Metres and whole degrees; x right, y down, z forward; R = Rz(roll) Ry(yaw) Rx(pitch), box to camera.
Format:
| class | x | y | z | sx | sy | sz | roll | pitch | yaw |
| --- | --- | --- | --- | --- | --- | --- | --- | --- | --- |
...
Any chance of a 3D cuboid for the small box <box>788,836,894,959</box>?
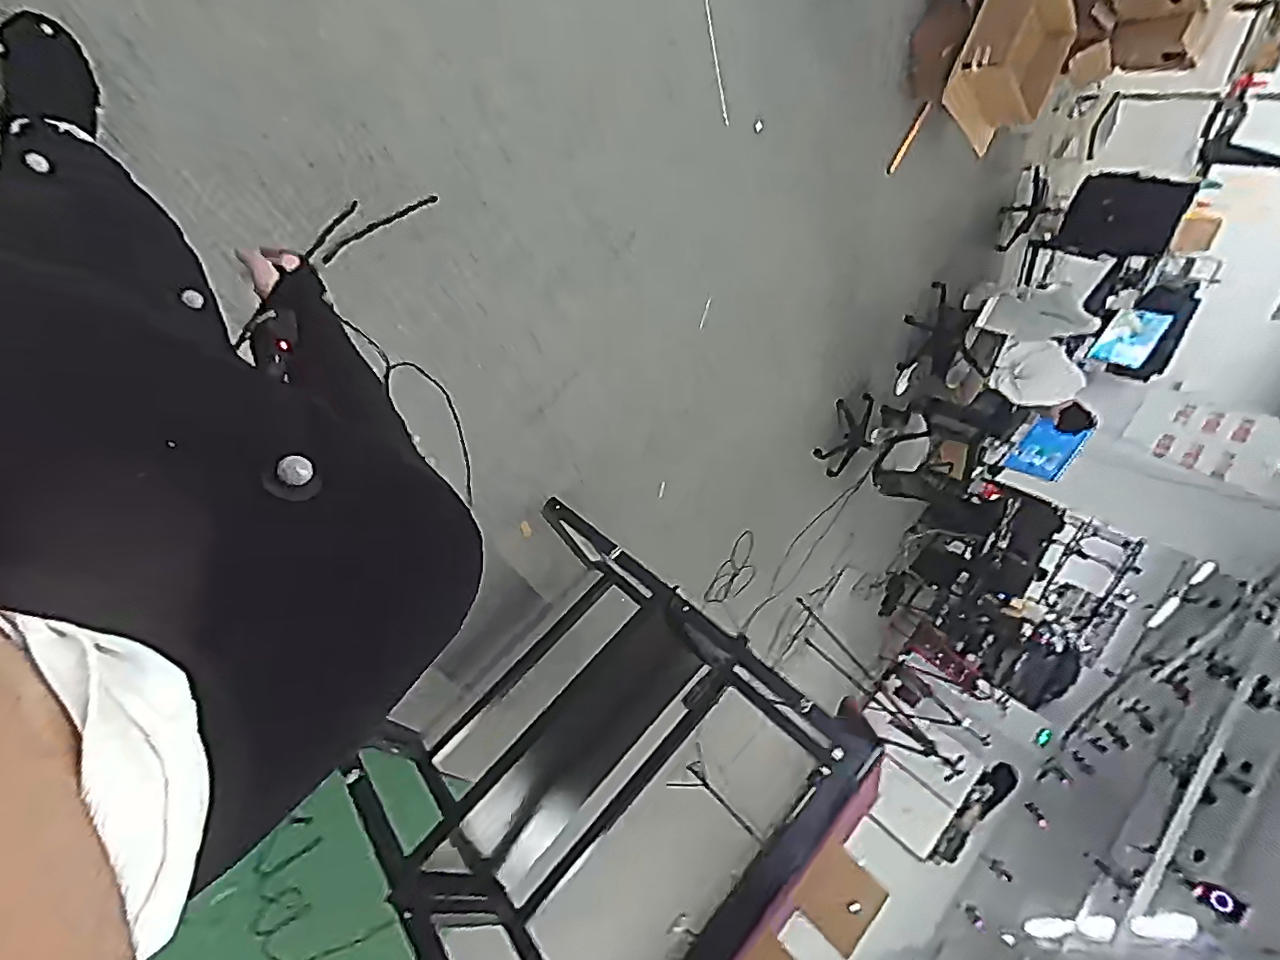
| class | x | y | z | sx | sy | sz | roll | pitch | yaw |
| --- | --- | --- | --- | --- | --- | --- | --- | --- | --- |
| small box | 0.473 | 0.996 | 1.291 | 0.179 | 0.176 | 0.168 | -41 | 139 | -19 |

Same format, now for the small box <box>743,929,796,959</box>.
| class | x | y | z | sx | sy | sz | roll | pitch | yaw |
| --- | --- | --- | --- | --- | --- | --- | --- | --- | --- |
| small box | 0.297 | 1.170 | 1.220 | 0.179 | 0.176 | 0.168 | -46 | 142 | -16 |
